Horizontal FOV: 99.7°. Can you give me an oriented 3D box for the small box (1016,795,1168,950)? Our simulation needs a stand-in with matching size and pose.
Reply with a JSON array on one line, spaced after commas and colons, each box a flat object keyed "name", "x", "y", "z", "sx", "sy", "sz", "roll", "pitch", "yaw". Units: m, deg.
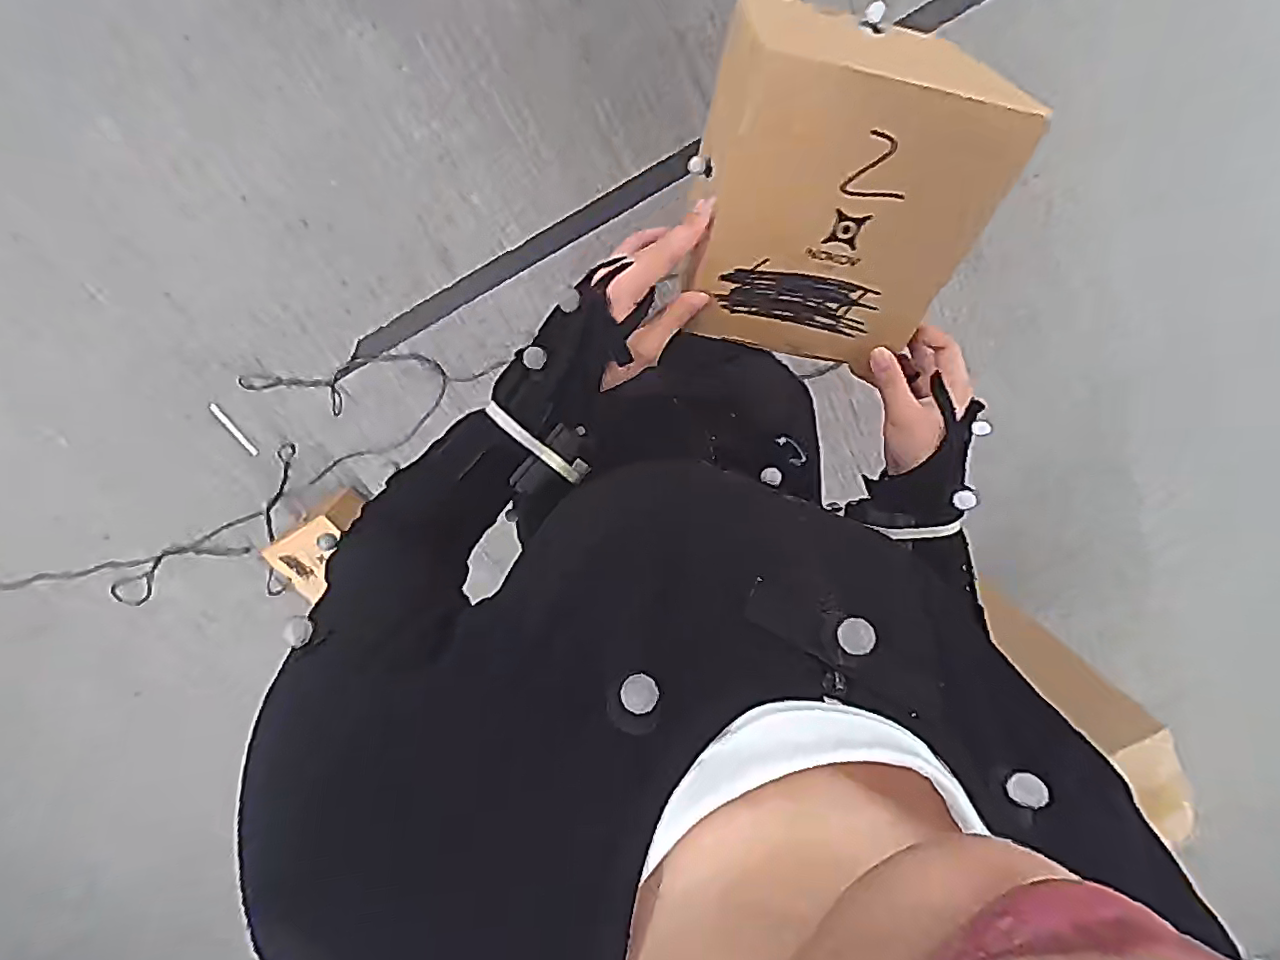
[{"name": "small box", "x": 0.901, "y": 0.787, "z": 1.095, "sx": 0.179, "sy": 0.176, "sz": 0.168, "roll": -27, "pitch": 113, "yaw": 4}]

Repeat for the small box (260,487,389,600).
[{"name": "small box", "x": -0.739, "y": 0.145, "z": 1.289, "sx": 0.179, "sy": 0.176, "sz": 0.168, "roll": -31, "pitch": 113, "yaw": 5}]
